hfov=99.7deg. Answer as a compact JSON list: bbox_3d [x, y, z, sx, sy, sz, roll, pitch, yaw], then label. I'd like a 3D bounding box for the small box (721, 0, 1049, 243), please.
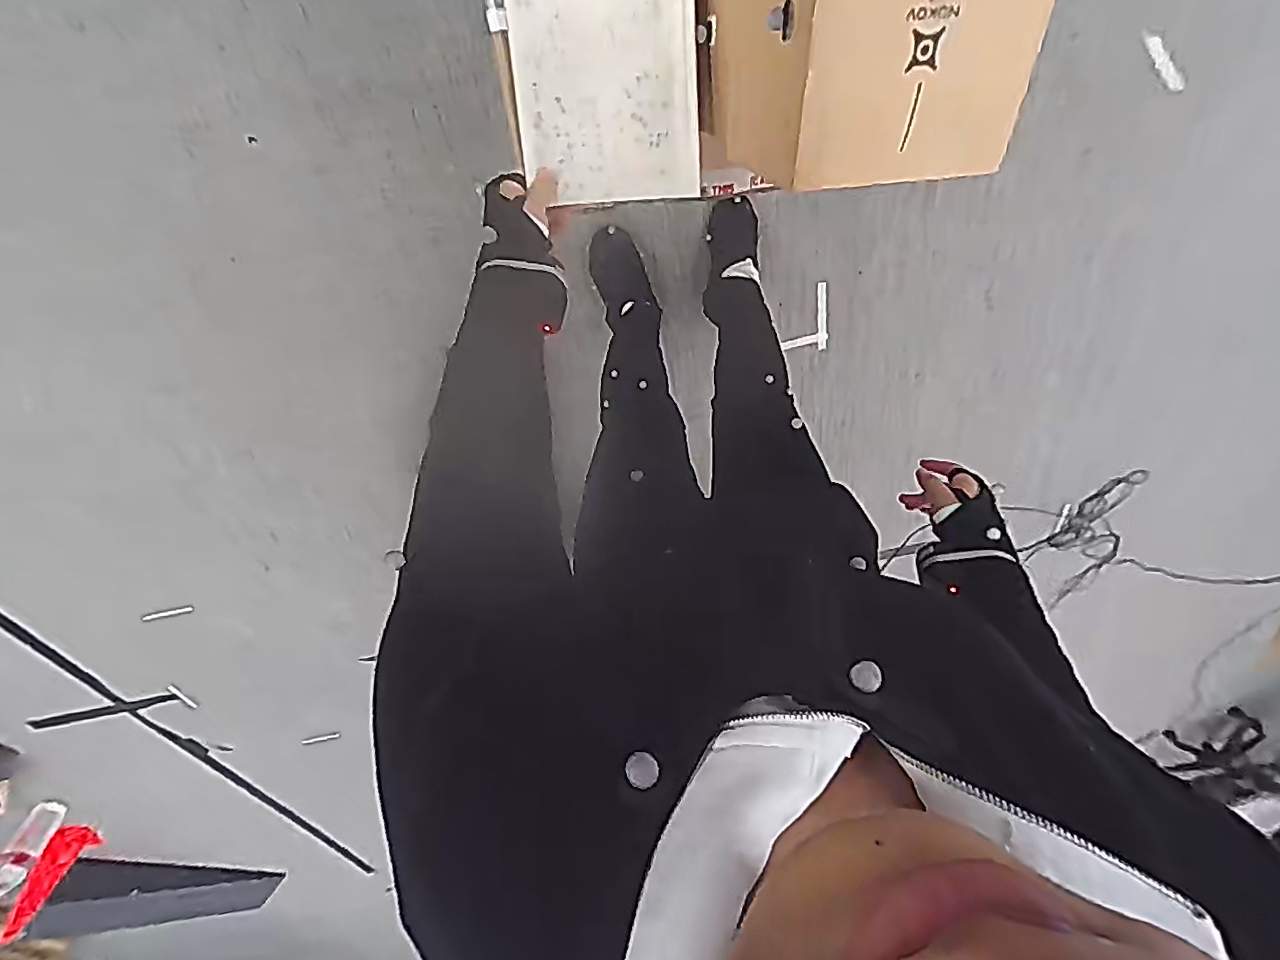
[{"bbox_3d":[0.169,-0.308,0.430,0.168,0.176,0.179,-8,130,-6],"label":"small box"}]

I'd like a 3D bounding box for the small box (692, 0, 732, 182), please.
[{"bbox_3d":[0.161,-0.413,0.557,0.179,0.176,0.168,-11,129,-4],"label":"small box"}]
